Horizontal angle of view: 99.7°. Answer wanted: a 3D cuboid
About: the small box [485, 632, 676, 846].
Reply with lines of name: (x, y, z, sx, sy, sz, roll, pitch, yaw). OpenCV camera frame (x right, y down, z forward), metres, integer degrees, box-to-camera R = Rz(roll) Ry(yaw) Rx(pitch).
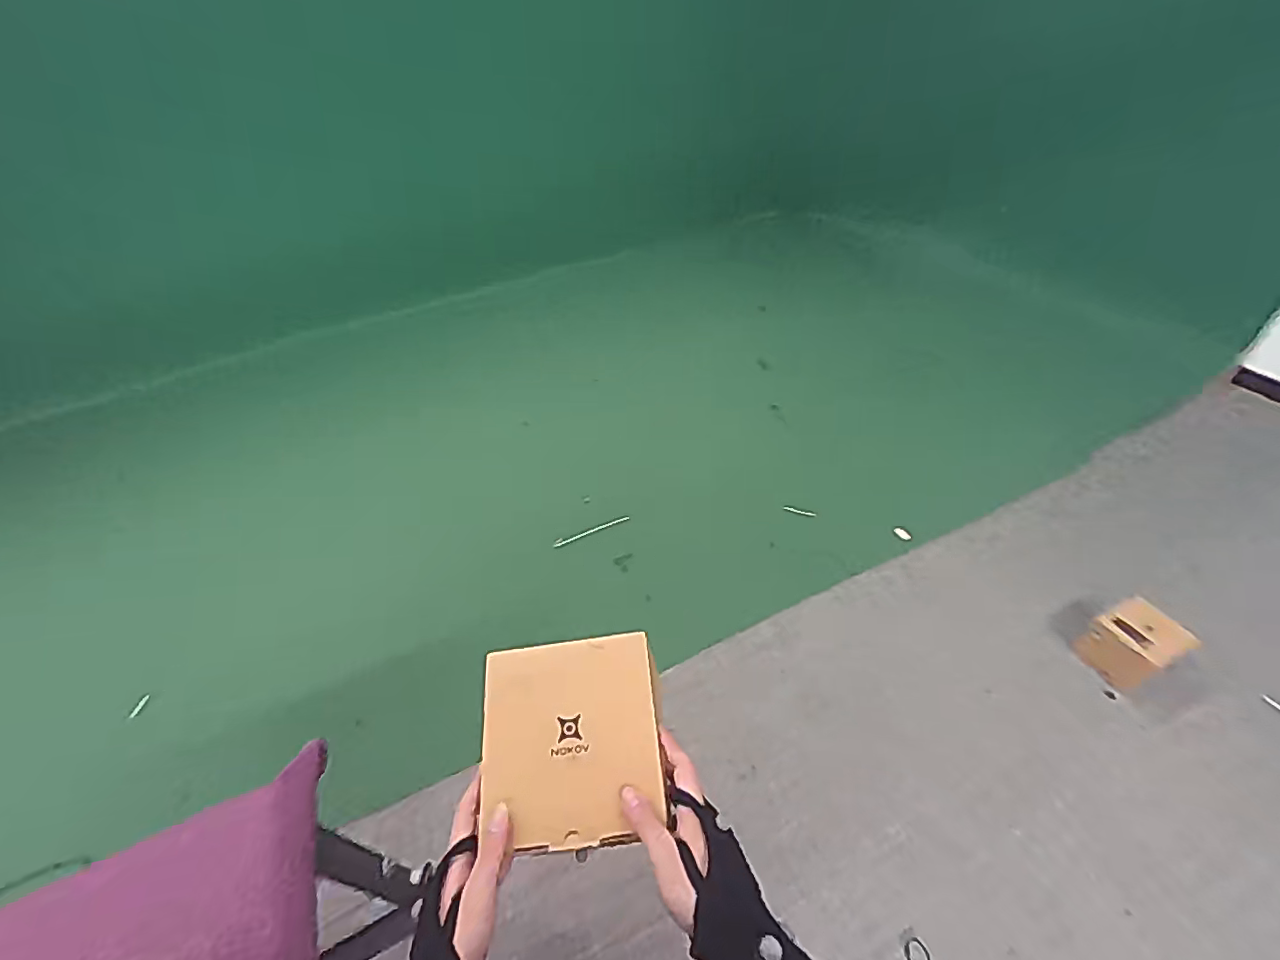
small box: (-0.054, 0.280, 0.578, 0.168, 0.176, 0.179, -7, 57, 2)
